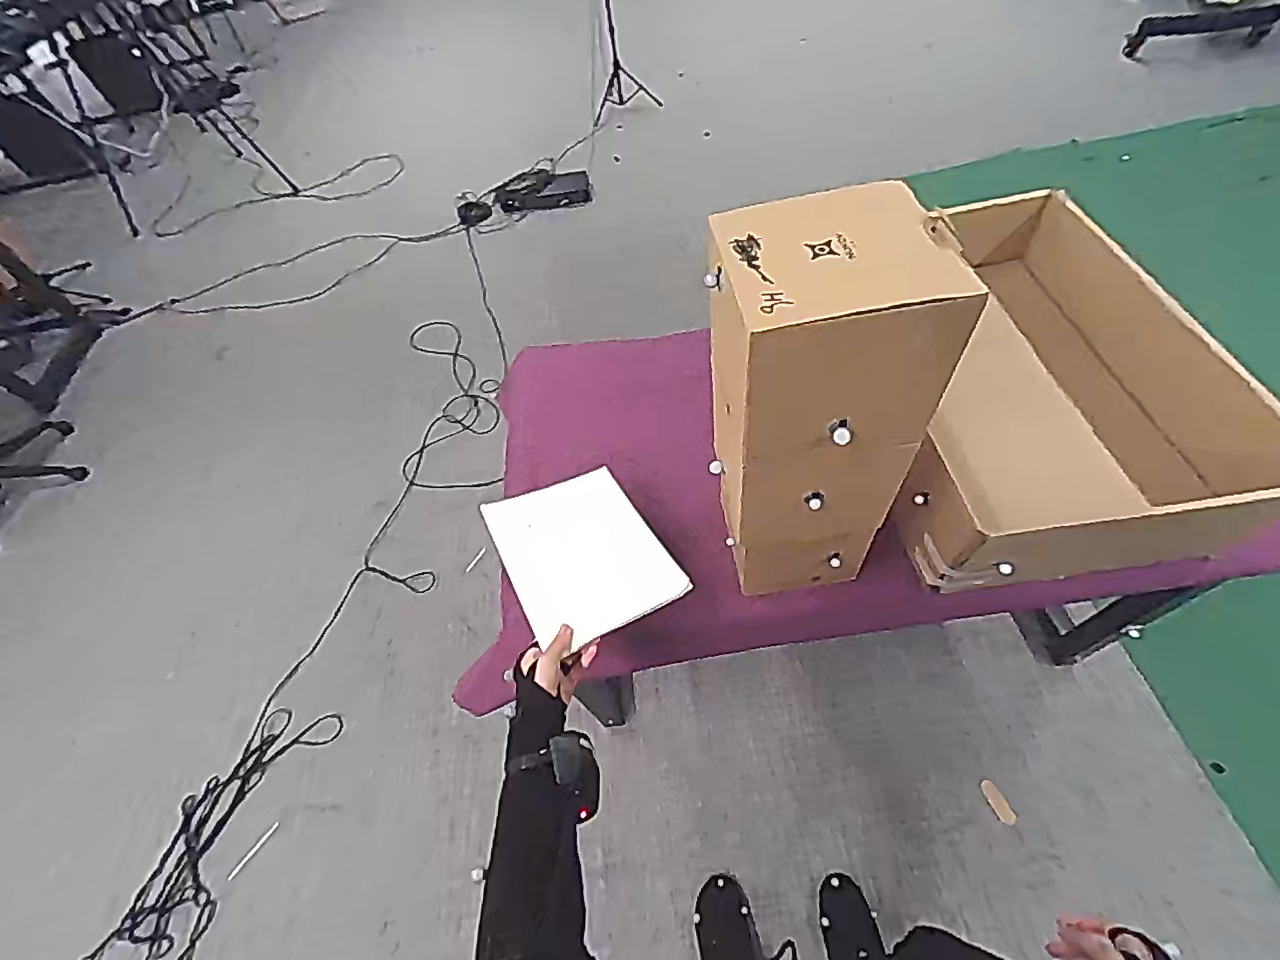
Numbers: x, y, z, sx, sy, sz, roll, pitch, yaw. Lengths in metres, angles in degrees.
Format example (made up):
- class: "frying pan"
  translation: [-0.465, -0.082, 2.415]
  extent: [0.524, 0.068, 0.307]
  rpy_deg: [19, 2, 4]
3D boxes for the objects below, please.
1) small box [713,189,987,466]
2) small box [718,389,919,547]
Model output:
- class: "small box"
  translation: [0.165, -0.133, 0.498]
  extent: [0.179, 0.176, 0.168]
  rpy_deg: [-8, 53, 2]
- class: "small box"
  translation: [0.188, -0.038, 0.631]
  extent: [0.179, 0.176, 0.168]
  rpy_deg: [-9, 53, 4]
